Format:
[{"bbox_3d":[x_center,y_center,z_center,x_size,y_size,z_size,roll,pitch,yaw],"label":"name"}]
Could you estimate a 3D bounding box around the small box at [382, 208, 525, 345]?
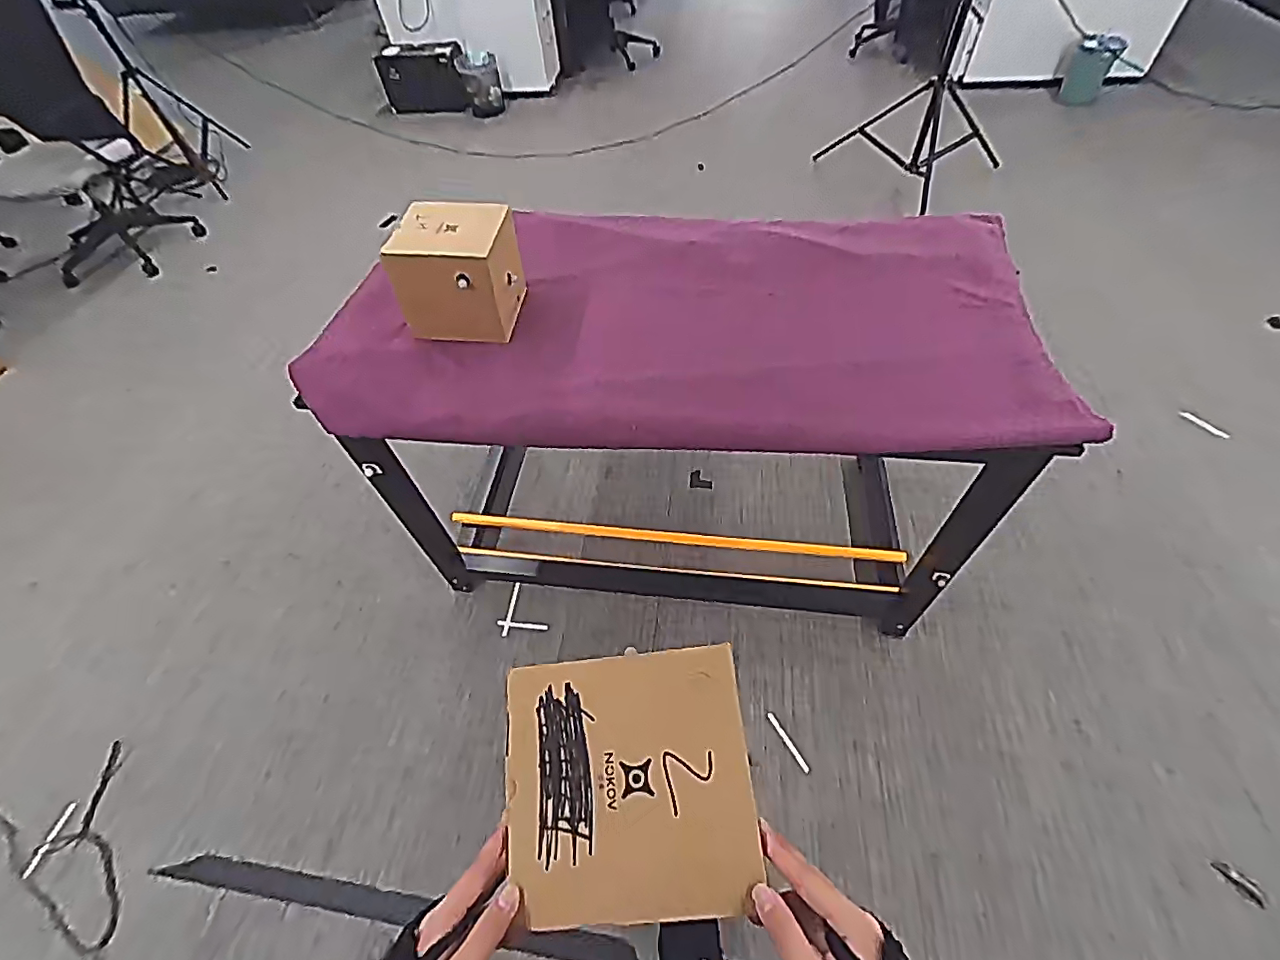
[{"bbox_3d":[-0.313,-0.355,0.955,0.179,0.176,0.168,3,52,4],"label":"small box"}]
